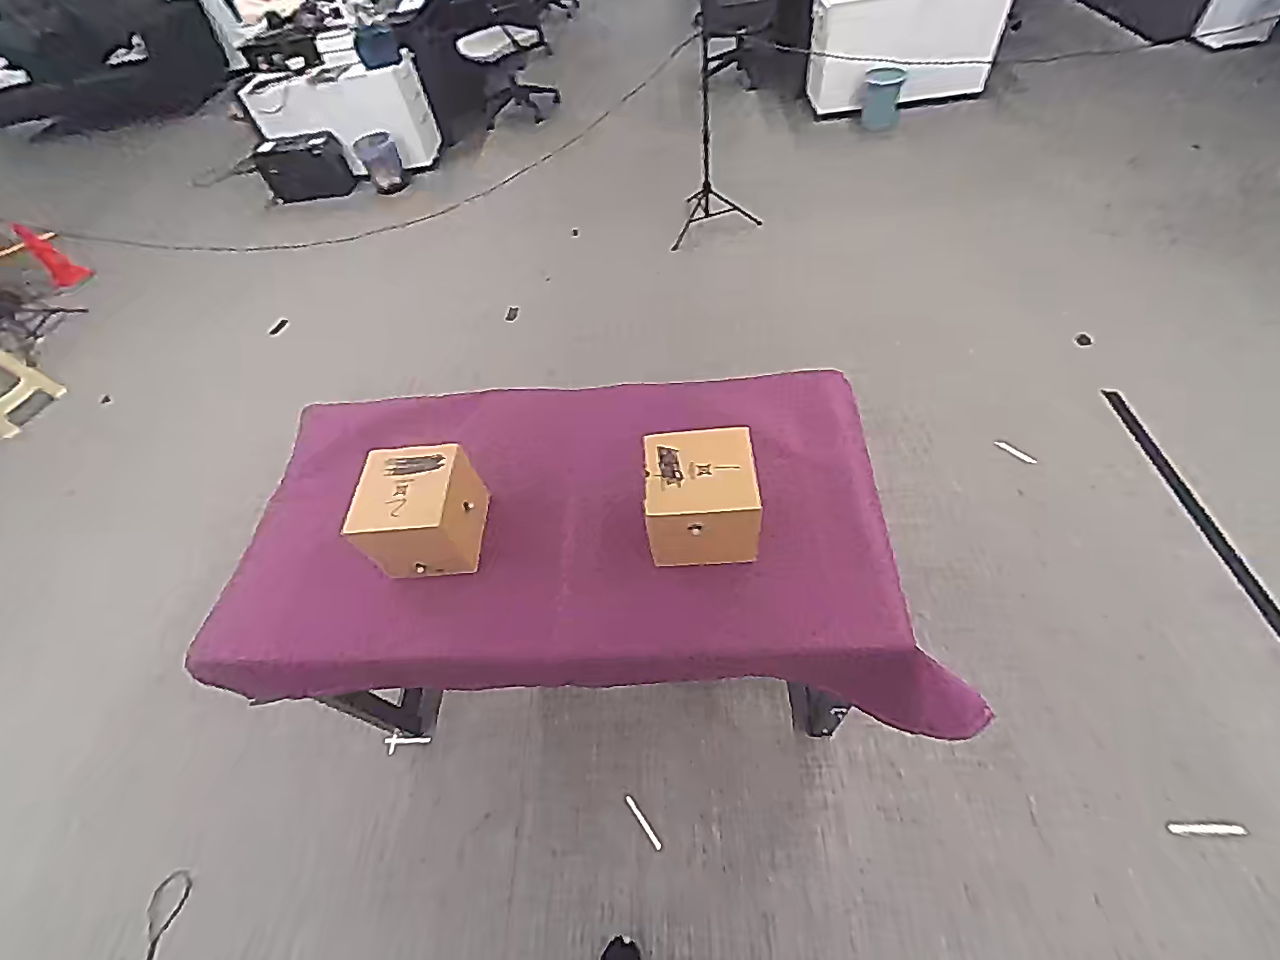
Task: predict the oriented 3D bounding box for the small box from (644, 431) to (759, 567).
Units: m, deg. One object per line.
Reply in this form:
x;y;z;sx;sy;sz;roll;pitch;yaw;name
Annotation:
0.103;0.037;0.919;0.179;0.176;0.168;-4;53;5;small box
